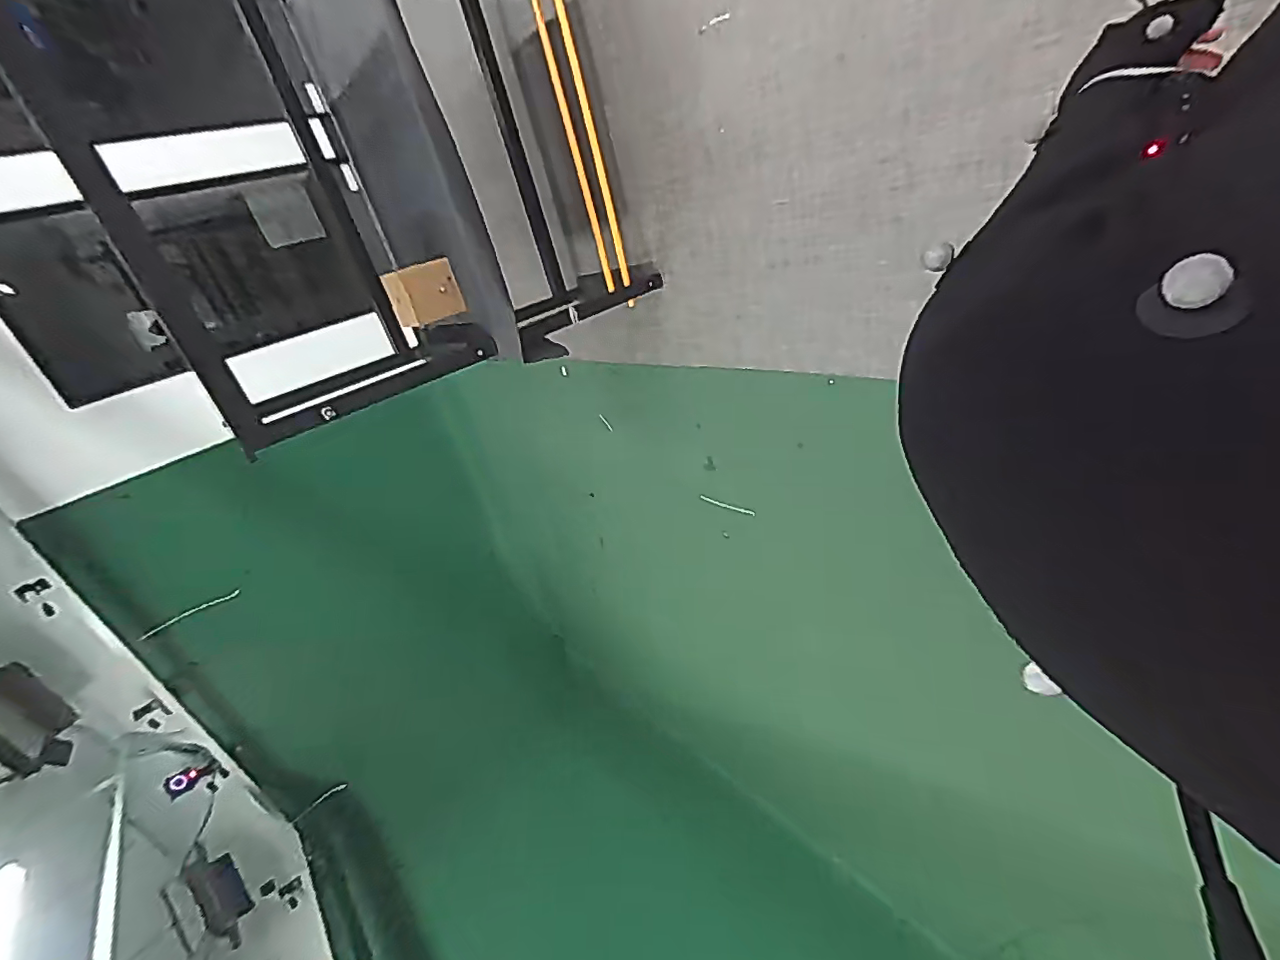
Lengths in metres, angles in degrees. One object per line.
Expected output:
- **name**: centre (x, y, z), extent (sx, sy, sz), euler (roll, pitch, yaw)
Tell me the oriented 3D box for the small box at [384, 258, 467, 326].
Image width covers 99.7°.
- **small box**: centre (-0.679, -0.597, 1.722), extent (0.179, 0.176, 0.168), euler (16, 131, 48)
